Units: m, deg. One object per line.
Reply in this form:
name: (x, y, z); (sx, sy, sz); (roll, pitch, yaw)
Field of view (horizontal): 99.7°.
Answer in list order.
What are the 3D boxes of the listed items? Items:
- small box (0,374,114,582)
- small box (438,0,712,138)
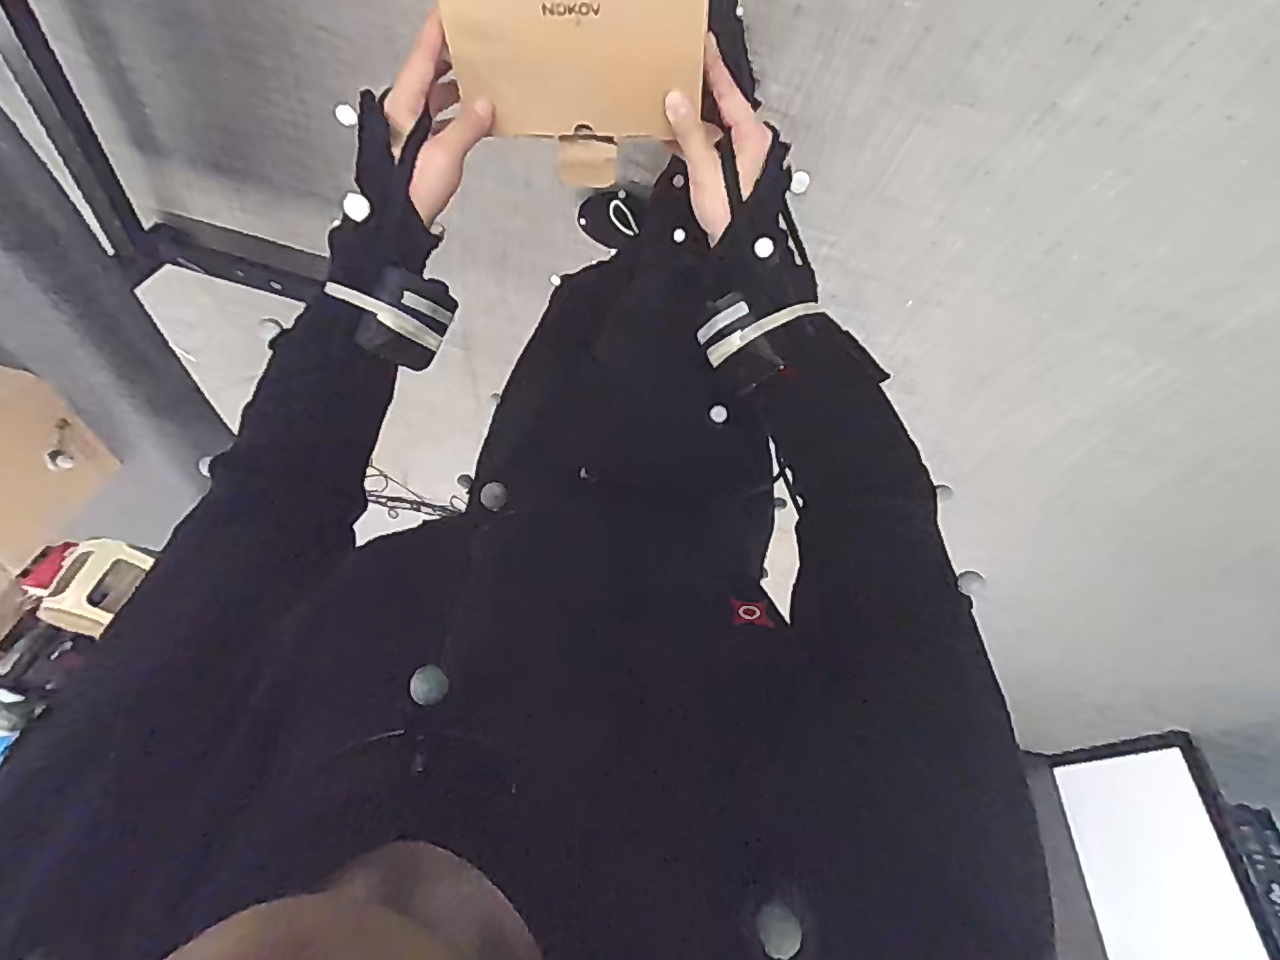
small box: (-0.752, -0.017, 0.584); (0.179, 0.176, 0.168); (14, 143, -5)
small box: (-0.035, -0.358, 0.352); (0.168, 0.176, 0.179); (3, 148, 3)
